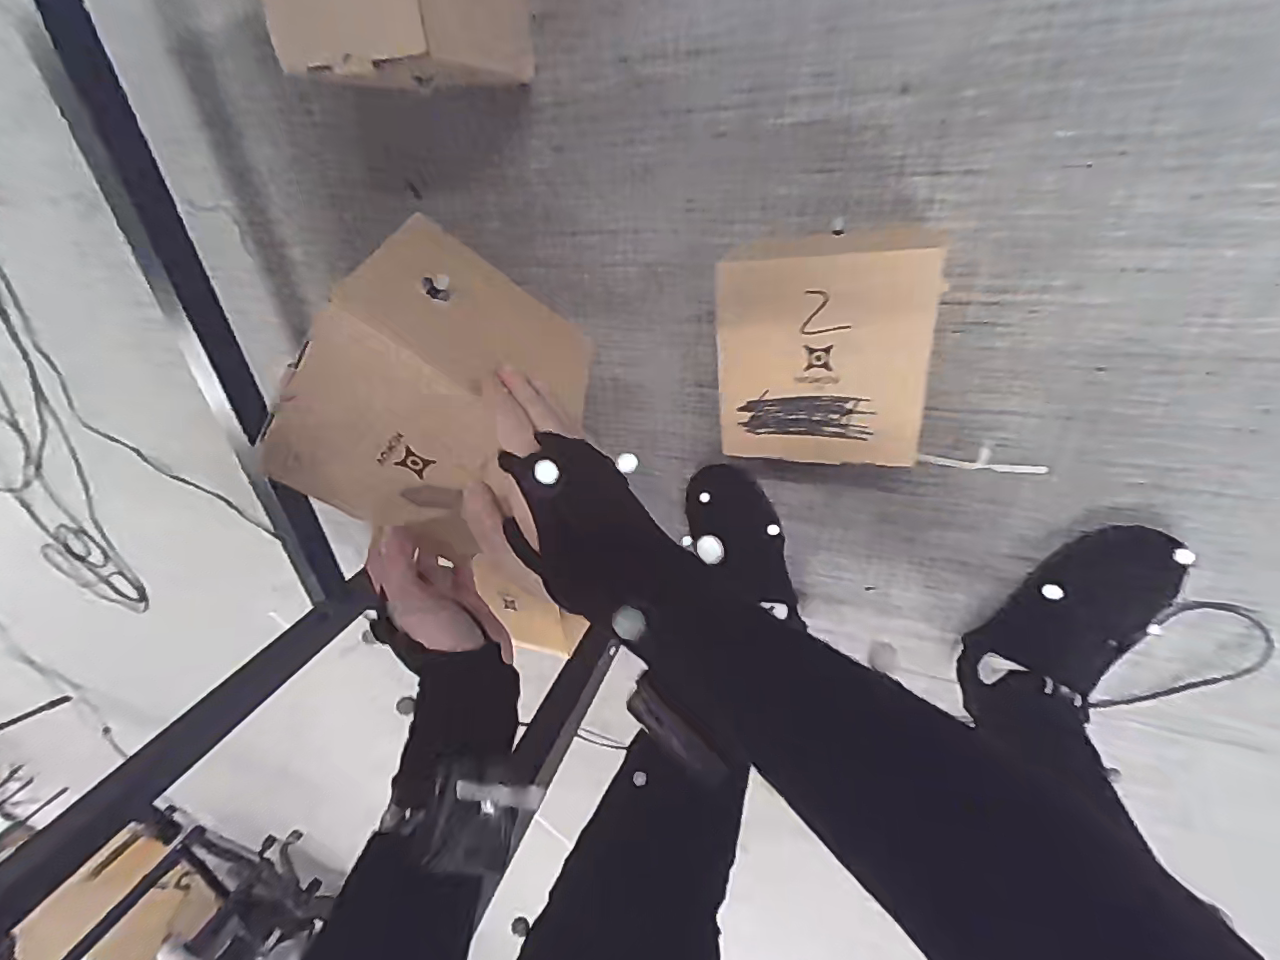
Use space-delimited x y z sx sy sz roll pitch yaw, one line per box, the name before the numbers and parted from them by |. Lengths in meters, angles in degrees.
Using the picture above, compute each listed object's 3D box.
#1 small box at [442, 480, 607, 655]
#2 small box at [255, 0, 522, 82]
small box | -0.158 0.123 0.808 0.168 0.176 0.179 7 122 20
small box | -0.220 -0.463 0.474 0.168 0.176 0.179 10 123 18
